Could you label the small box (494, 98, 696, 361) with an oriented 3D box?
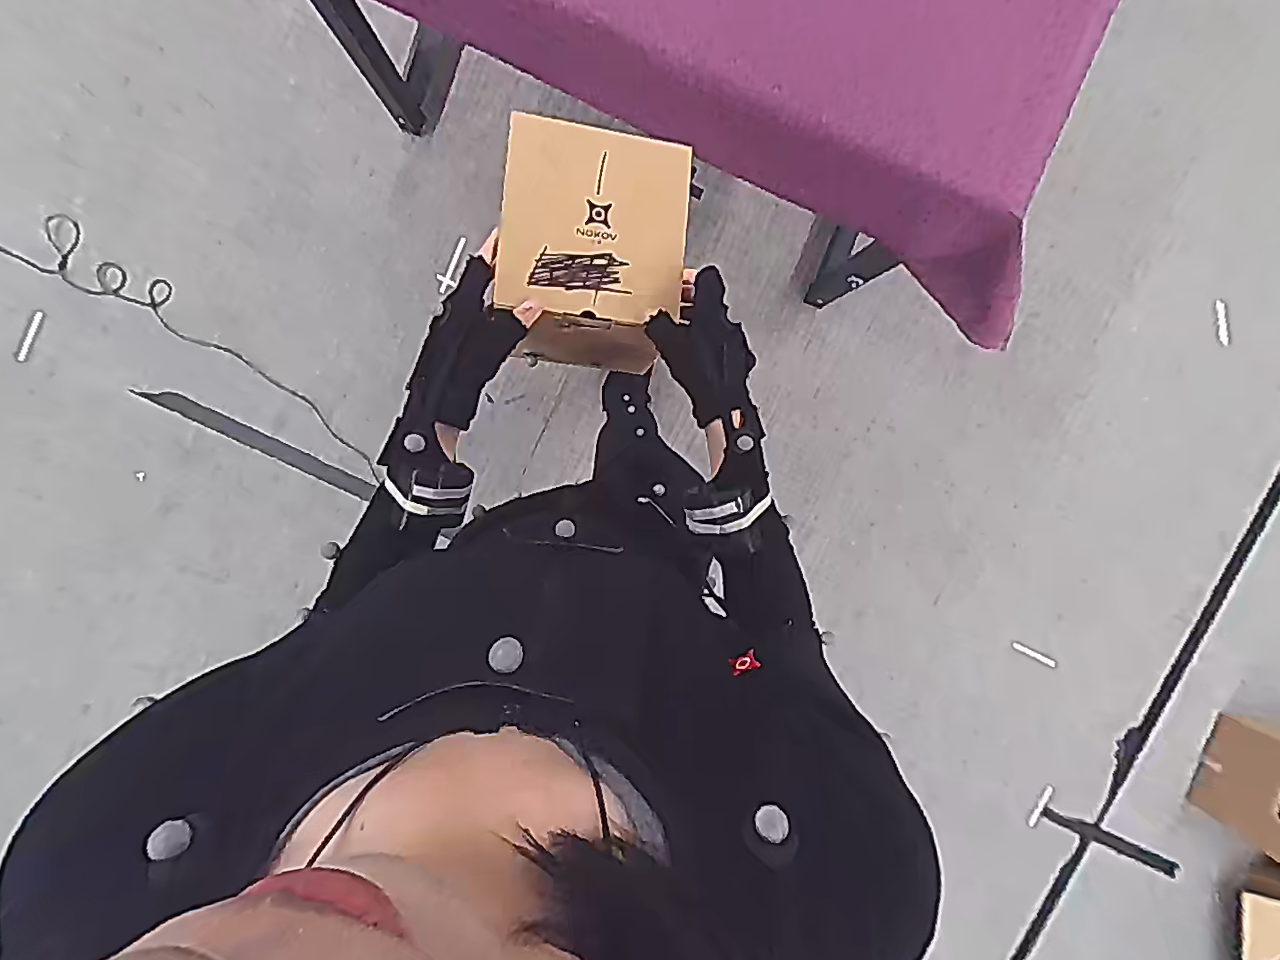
[{"bbox_3d":[-0.050,-0.232,0.552,0.168,0.176,0.179,5,86,-10],"label":"small box"}]
